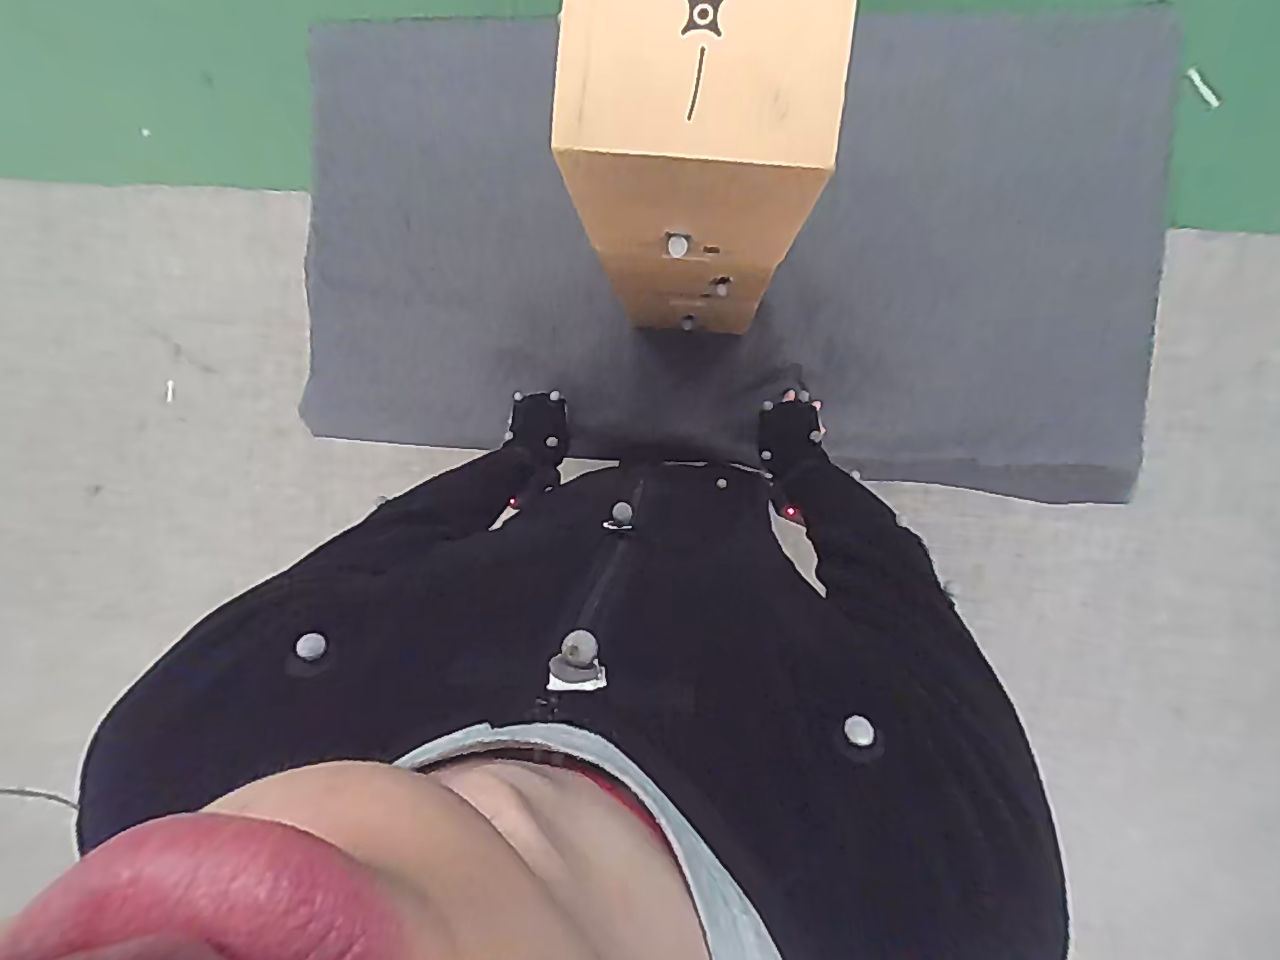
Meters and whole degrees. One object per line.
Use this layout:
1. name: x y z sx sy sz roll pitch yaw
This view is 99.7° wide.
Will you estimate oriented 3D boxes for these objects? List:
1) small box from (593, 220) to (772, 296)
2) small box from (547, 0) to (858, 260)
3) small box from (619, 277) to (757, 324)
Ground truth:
1. small box: 0.054 -0.293 0.539 0.168 0.176 0.179 5 94 4
2. small box: 0.043 -0.275 0.377 0.168 0.176 0.179 7 97 4
3. small box: 0.072 -0.307 0.700 0.168 0.176 0.179 6 96 5
